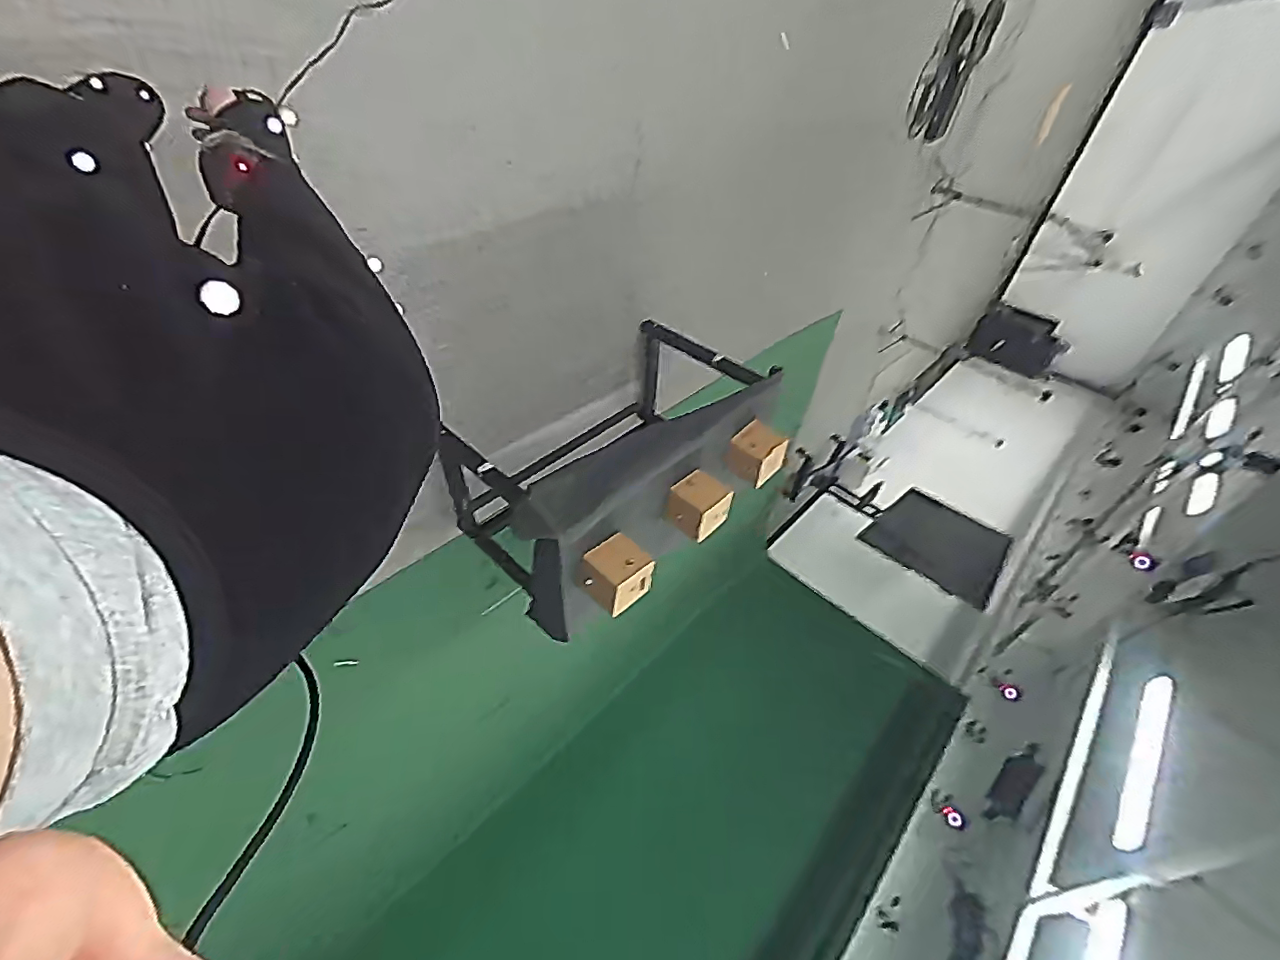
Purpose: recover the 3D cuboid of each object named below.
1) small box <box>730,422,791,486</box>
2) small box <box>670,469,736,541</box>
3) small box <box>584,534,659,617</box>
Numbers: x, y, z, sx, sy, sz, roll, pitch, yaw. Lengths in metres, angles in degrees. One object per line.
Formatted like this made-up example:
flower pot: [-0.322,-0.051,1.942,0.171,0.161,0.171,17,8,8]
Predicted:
small box: [0.485,-0.114,2.203,0.168,0.176,0.179,-39,150,-25]
small box: [0.231,0.089,2.027,0.179,0.176,0.168,-33,145,-34]
small box: [-0.065,0.311,1.803,0.179,0.176,0.168,-30,143,-38]
